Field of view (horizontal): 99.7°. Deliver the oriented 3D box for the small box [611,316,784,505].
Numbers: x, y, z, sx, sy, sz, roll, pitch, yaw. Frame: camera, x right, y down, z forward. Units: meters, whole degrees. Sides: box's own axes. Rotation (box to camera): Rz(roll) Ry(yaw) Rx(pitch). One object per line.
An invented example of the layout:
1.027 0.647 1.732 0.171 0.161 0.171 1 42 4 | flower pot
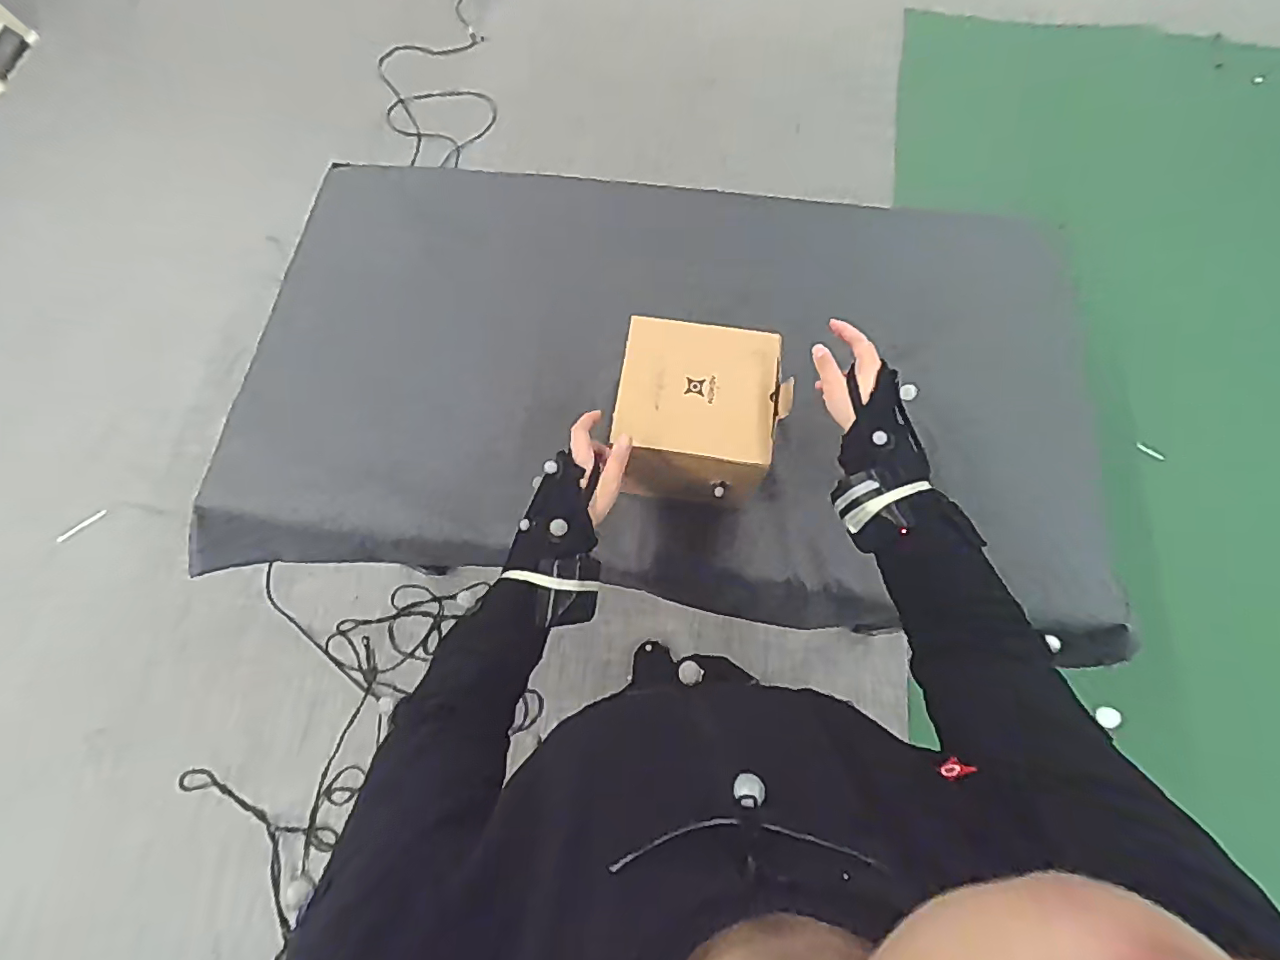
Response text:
0.068 -0.075 0.667 0.179 0.176 0.168 7 70 4 | small box
